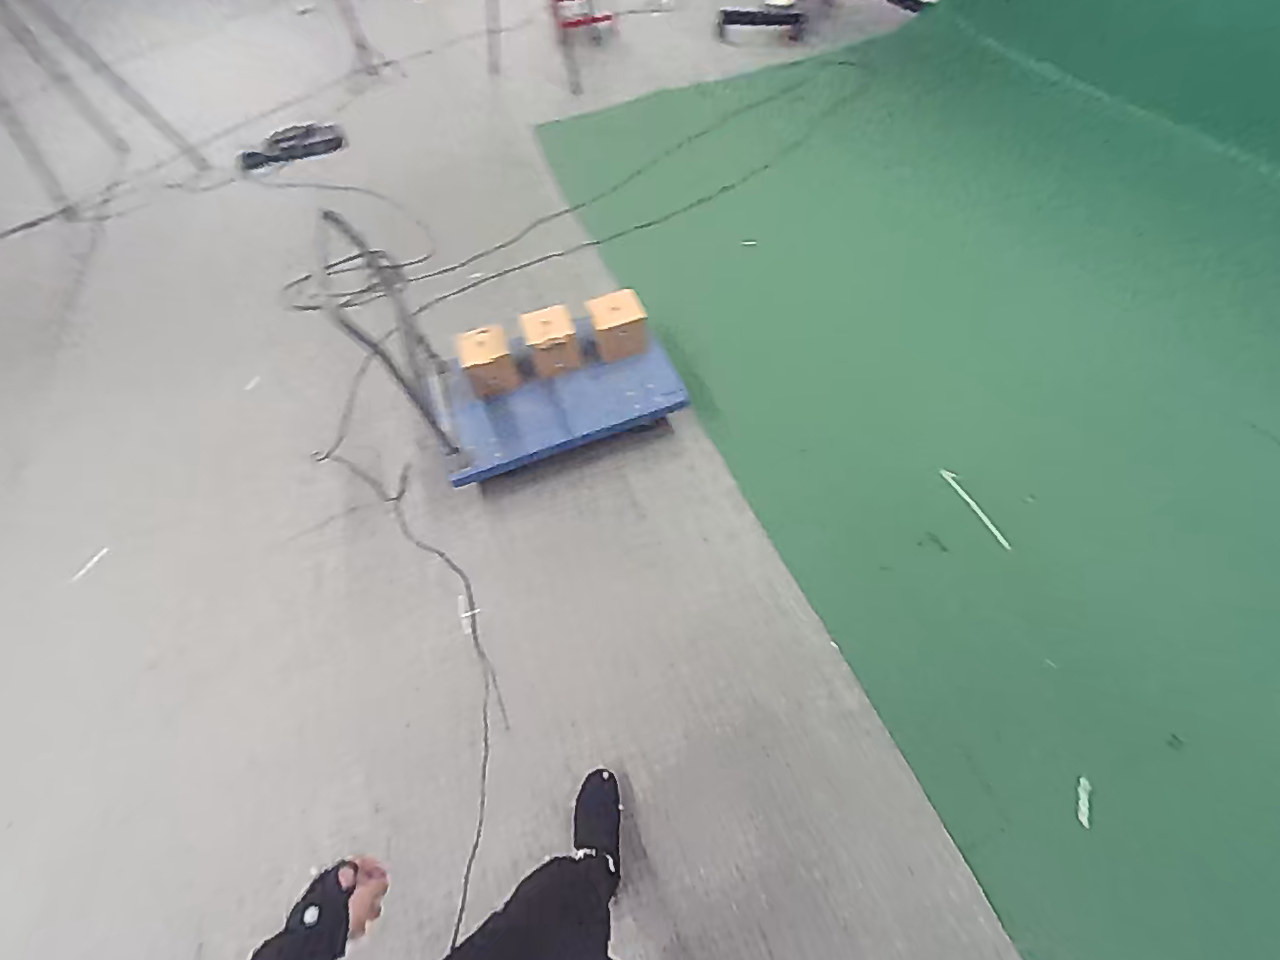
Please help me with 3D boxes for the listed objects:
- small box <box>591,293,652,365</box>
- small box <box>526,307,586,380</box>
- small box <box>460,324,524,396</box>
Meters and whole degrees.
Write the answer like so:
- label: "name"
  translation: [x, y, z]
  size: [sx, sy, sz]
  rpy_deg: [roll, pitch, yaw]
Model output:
- label: "small box"
  translation: [-0.066, -0.550, 1.984]
  size: [0.179, 0.176, 0.168]
  rpy_deg: [-18, 57, -6]
- label: "small box"
  translation: [-0.305, -0.495, 1.968]
  size: [0.168, 0.176, 0.179]
  rpy_deg: [-16, 57, -5]
- label: "small box"
  translation: [-0.527, -0.421, 1.937]
  size: [0.168, 0.176, 0.179]
  rpy_deg: [-18, 57, -8]
